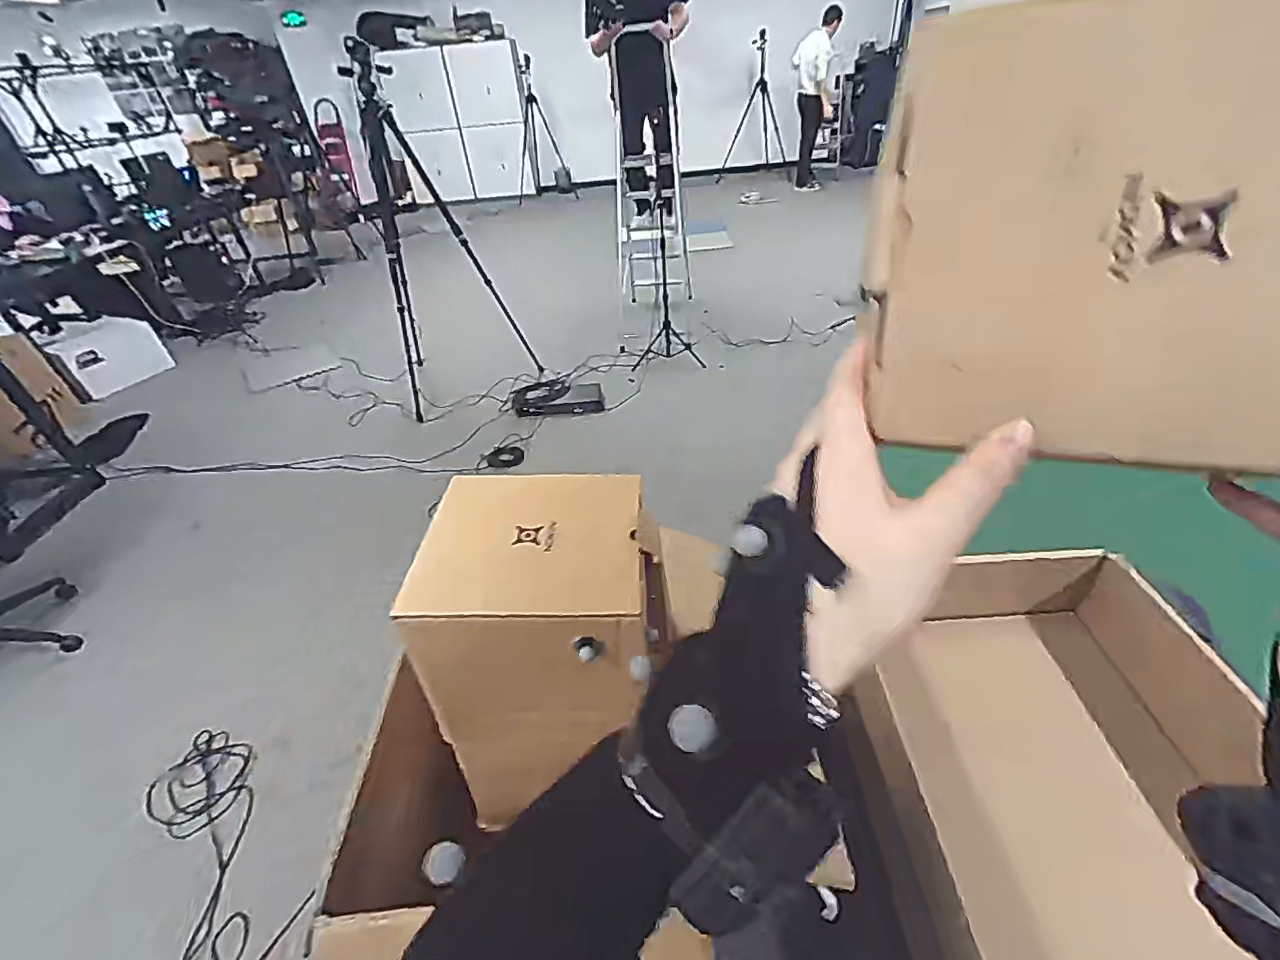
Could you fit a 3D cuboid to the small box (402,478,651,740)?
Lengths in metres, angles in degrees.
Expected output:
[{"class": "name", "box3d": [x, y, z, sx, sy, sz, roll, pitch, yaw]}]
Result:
[{"class": "small box", "box3d": [-0.079, 0.113, 0.485, 0.179, 0.176, 0.168, 0, 37, -1]}]
